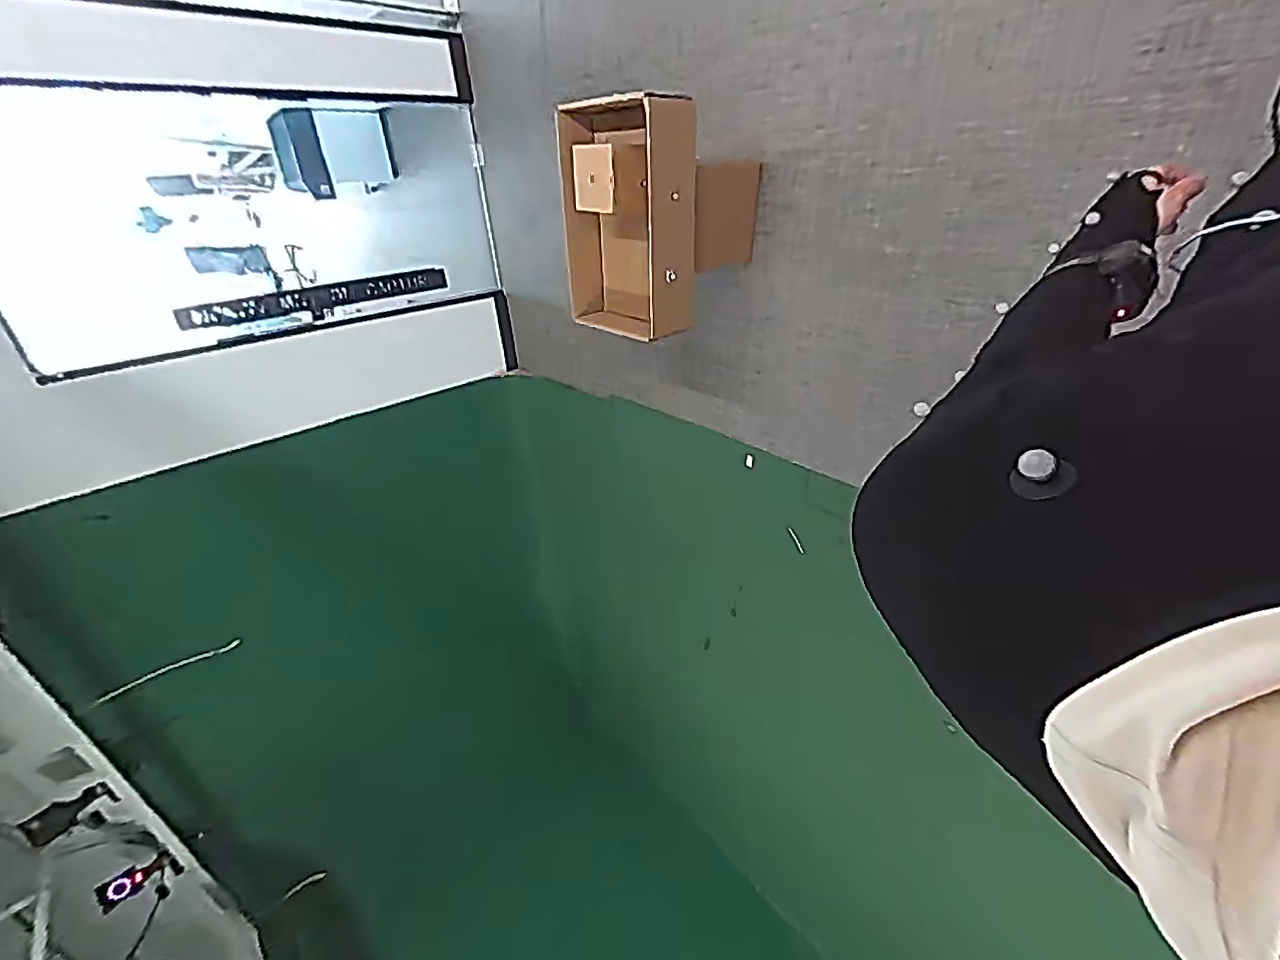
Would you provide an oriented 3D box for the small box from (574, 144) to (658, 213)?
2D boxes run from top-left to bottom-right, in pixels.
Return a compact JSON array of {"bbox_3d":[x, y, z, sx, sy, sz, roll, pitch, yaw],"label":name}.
[{"bbox_3d":[-0.068,-0.865,1.553,0.179,0.176,0.168,28,131,39],"label":"small box"}]
